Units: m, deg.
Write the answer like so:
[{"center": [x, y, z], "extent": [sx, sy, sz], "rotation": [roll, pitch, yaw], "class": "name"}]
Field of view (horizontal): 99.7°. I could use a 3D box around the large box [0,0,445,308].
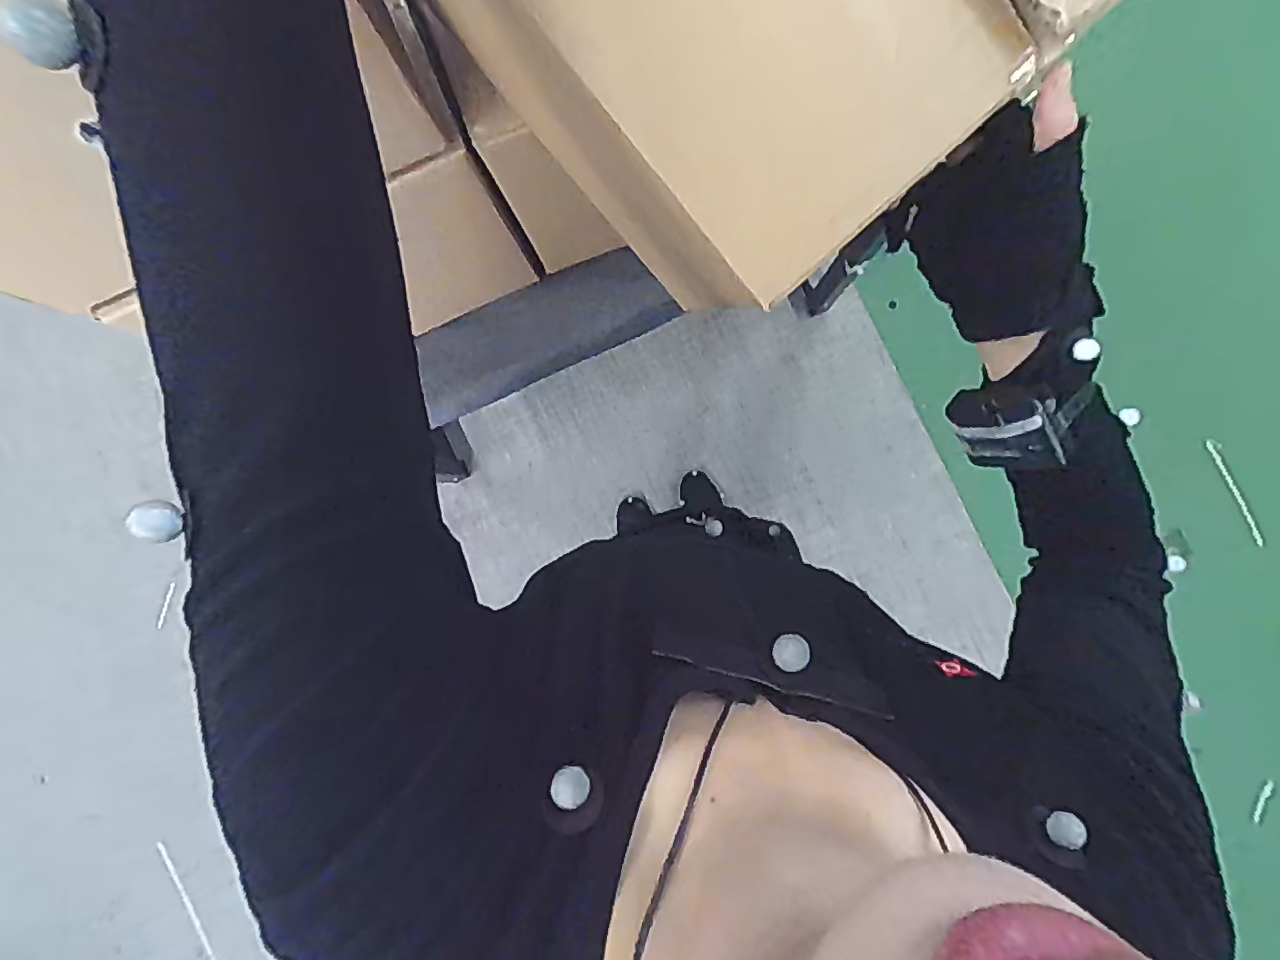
[{"center": [-0.426, -0.382, 0.371], "extent": [0.408, 0.320, 0.320], "rotation": [-23, 86, 4], "class": "large box"}]
